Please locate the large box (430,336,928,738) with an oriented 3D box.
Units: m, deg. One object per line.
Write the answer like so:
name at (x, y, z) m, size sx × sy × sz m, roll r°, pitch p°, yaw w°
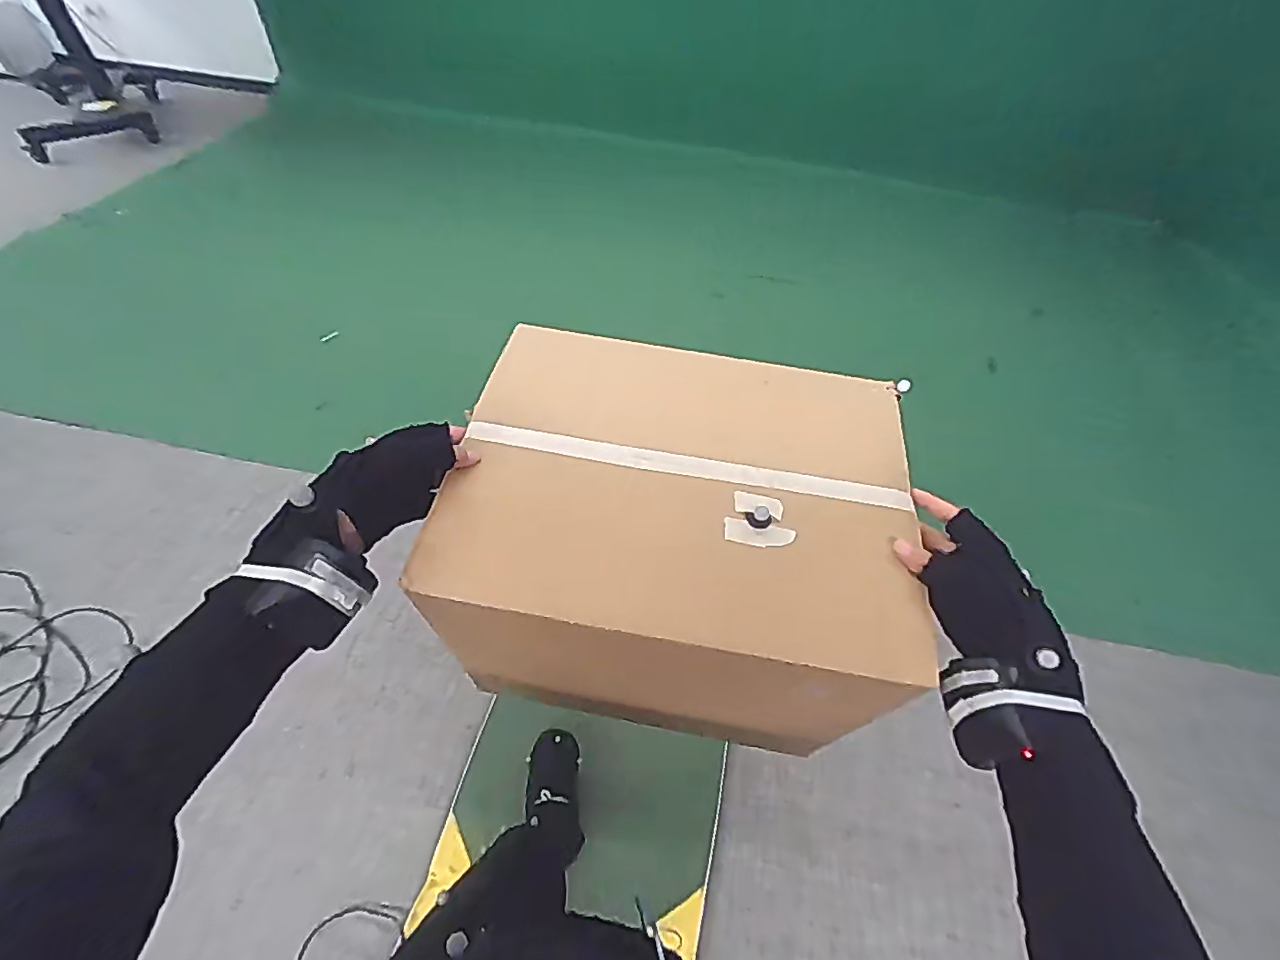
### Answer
large box at (0.037, 0.077, 0.625) m, size 0.408 × 0.320 × 0.320 m, roll 10°, pitch 56°, yaw 2°
